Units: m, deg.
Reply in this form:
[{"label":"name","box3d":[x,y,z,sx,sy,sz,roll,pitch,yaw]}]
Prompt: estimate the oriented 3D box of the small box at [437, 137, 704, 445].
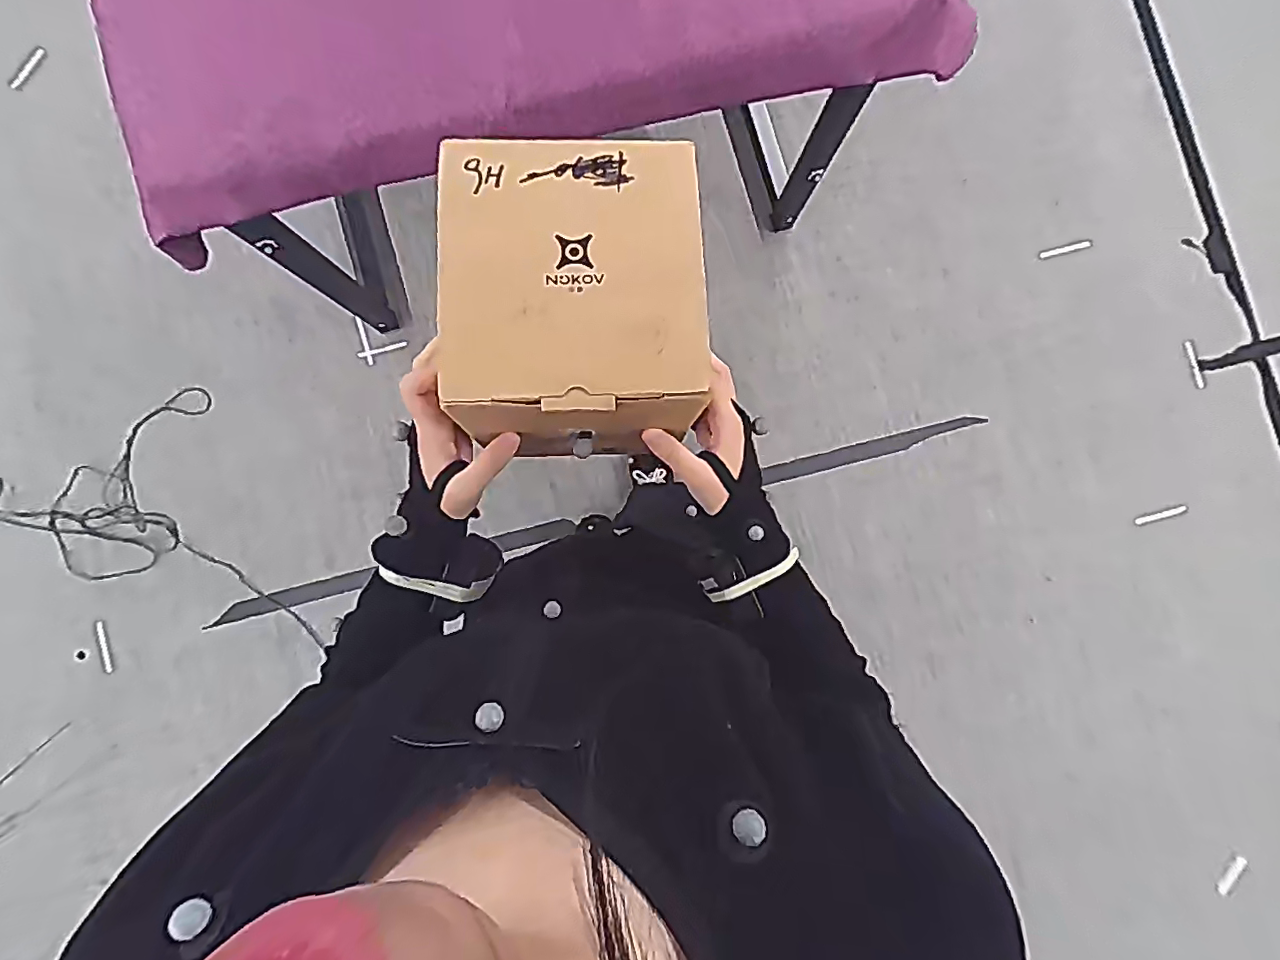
[{"label":"small box","box3d":[-0.048,-0.125,0.418,0.168,0.176,0.179,-2,82,-5]}]
